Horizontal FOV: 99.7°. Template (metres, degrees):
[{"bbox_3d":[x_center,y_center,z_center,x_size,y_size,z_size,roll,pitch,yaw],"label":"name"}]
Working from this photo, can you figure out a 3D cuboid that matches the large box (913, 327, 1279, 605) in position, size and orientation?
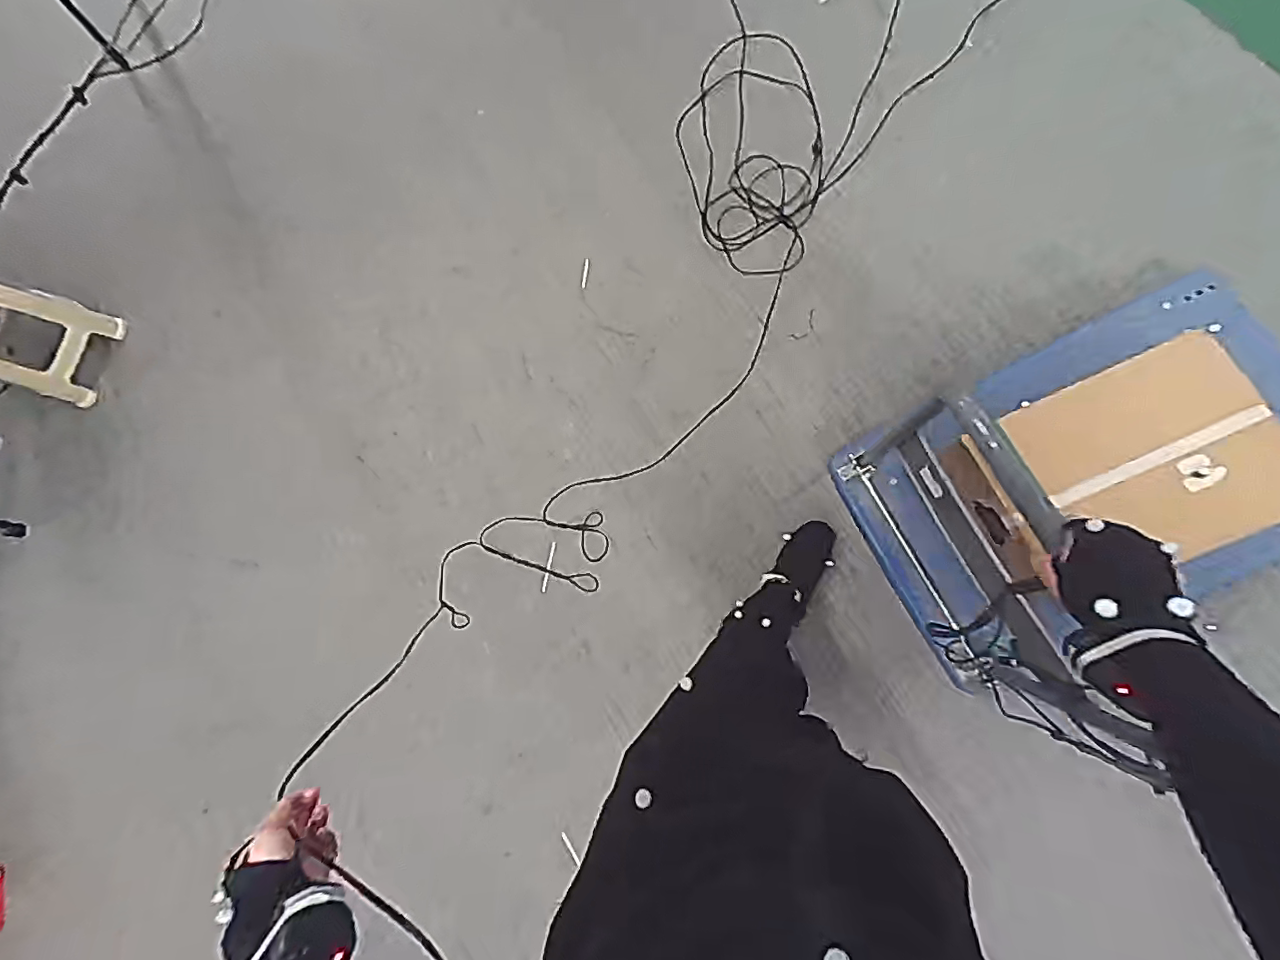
[{"bbox_3d":[0.802,0.000,0.994,0.408,0.320,0.320,-26,77,7],"label":"large box"}]
